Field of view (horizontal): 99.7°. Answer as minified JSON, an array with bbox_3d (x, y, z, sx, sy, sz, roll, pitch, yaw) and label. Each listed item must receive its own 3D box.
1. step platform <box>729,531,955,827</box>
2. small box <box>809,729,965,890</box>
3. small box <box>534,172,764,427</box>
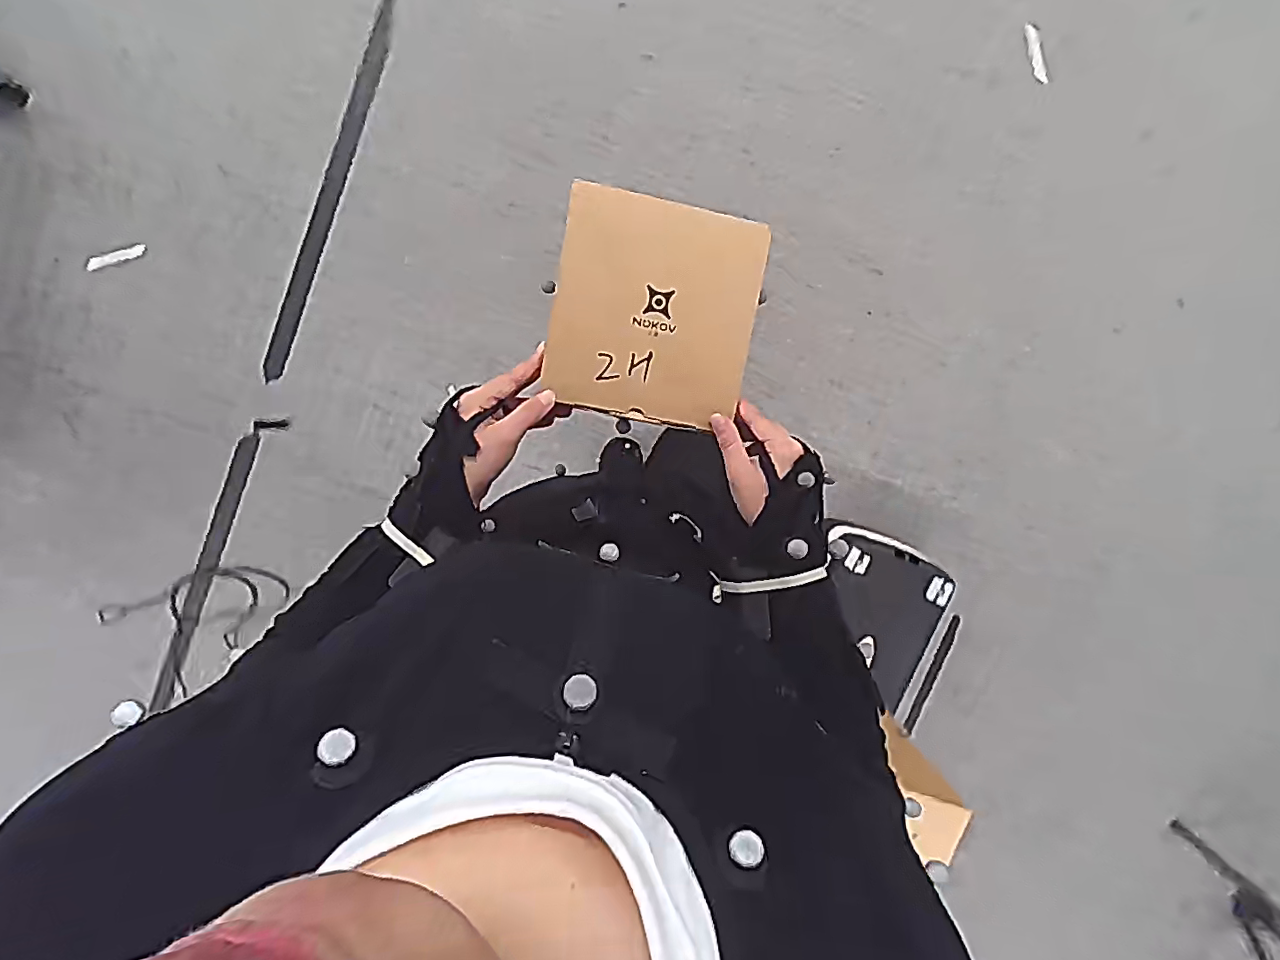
[{"bbox_3d":[0.478,0.482,1.322,0.286,0.204,0.684,21,95,-4],"label":"step platform"},{"bbox_3d":[0.442,0.593,0.995,0.179,0.176,0.168,19,96,-3],"label":"small box"},{"bbox_3d":[-0.001,-0.152,0.515,0.168,0.176,0.179,9,97,-6],"label":"small box"}]
